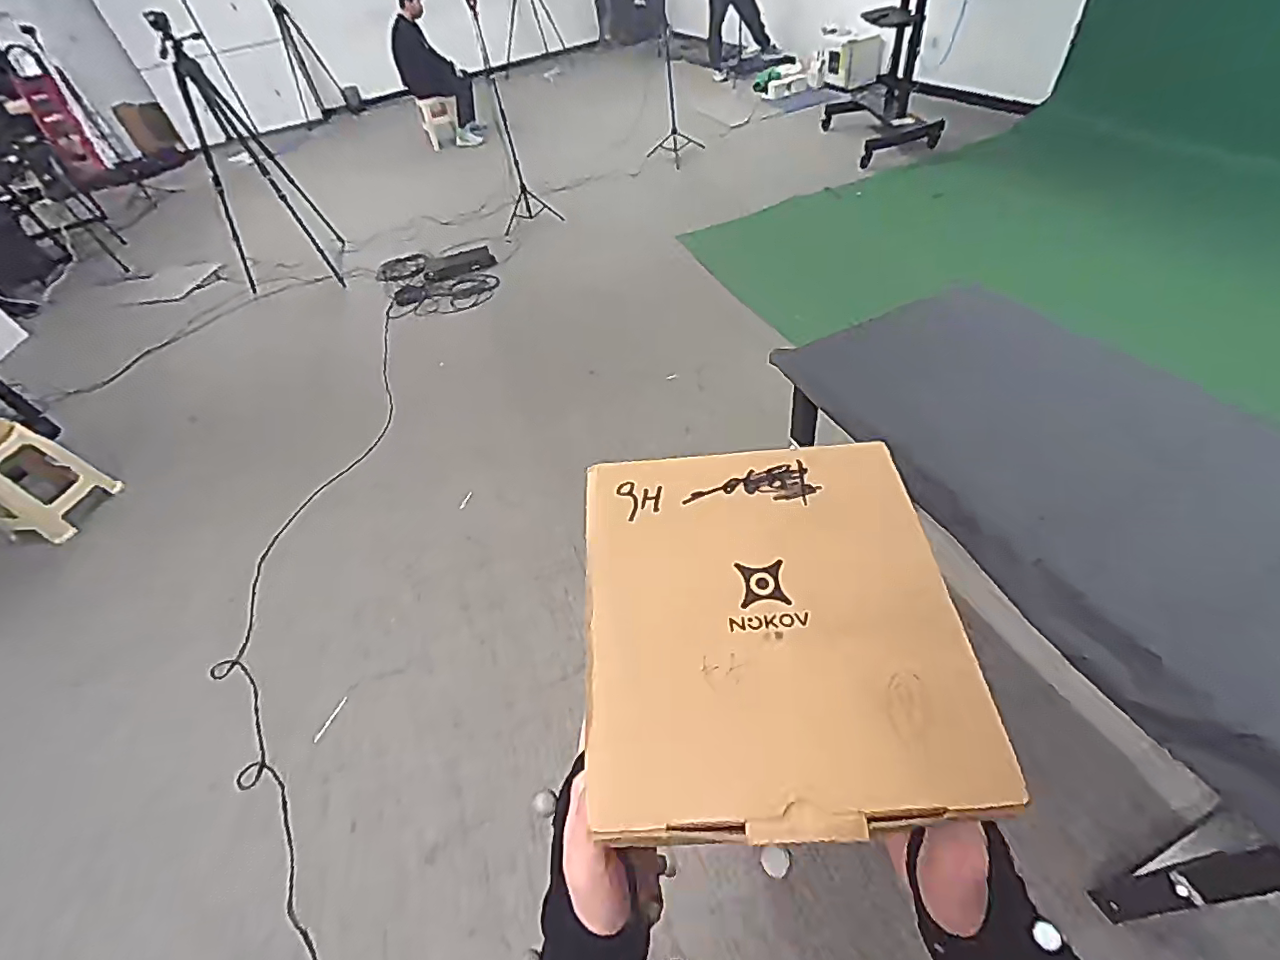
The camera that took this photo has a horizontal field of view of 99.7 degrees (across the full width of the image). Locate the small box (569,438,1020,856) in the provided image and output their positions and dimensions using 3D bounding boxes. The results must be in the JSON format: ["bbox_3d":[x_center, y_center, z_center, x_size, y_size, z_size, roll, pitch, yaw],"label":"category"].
[{"bbox_3d":[0.057,0.099,0.306,0.168,0.176,0.179,-4,57,0],"label":"small box"}]
